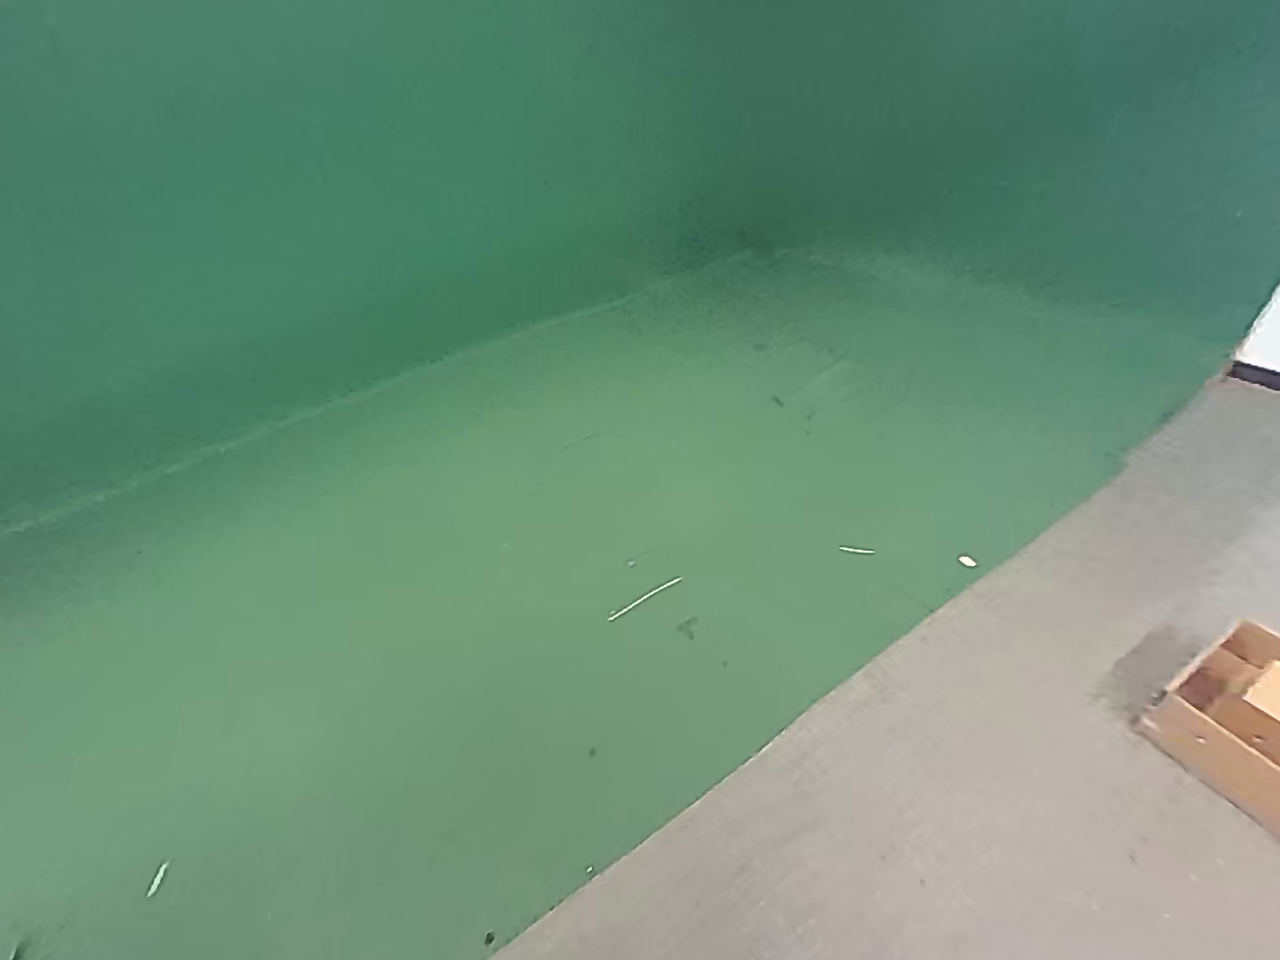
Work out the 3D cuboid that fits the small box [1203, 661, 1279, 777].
[{"bbox_3d":[1.561,0.591,1.333,0.179,0.176,0.168,-27,45,-19],"label":"small box"}]
